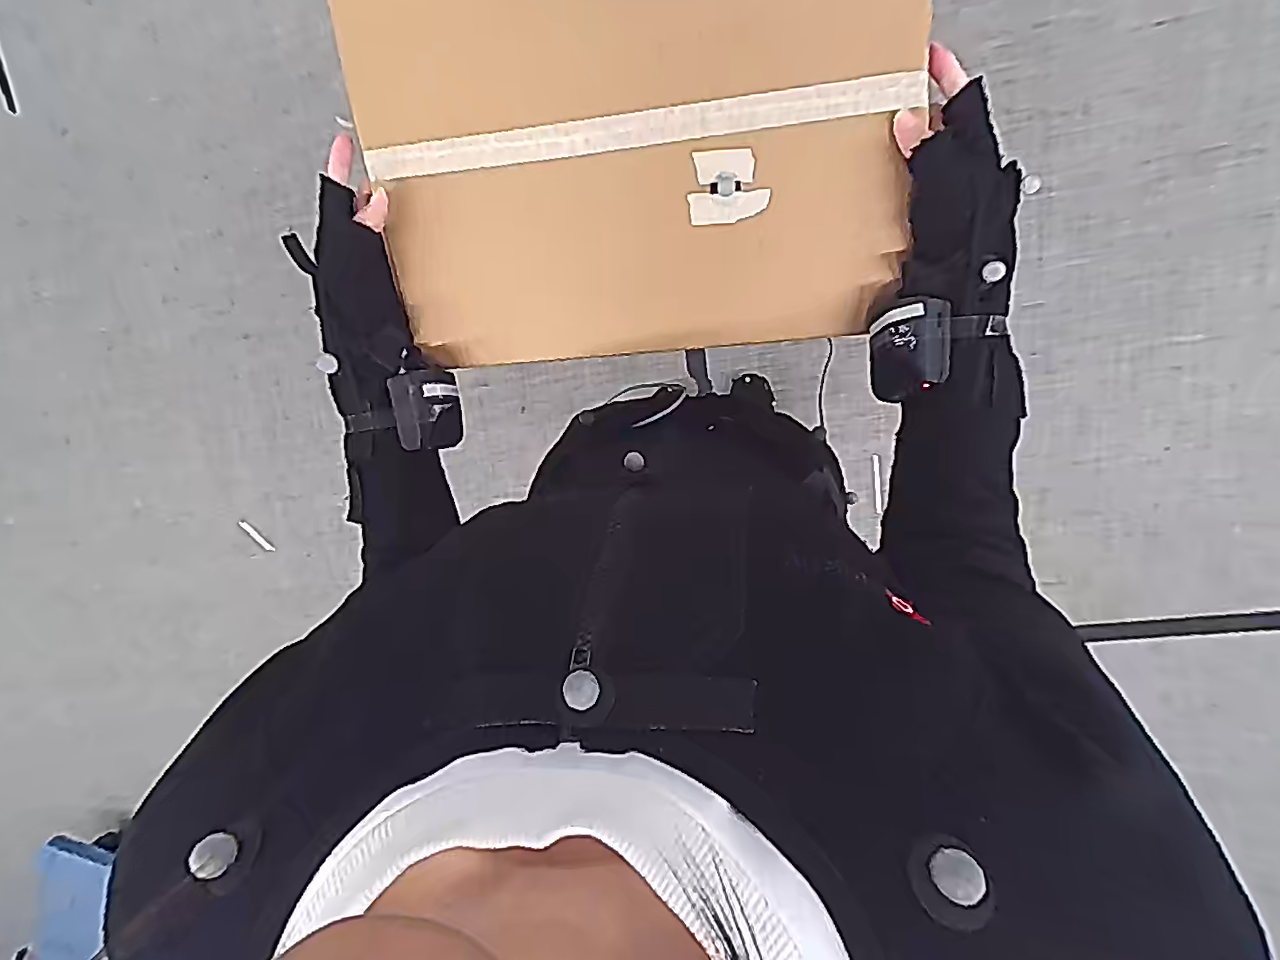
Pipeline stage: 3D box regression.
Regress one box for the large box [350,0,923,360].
[{"bbox_3d":[0.009,-0.312,0.540,0.408,0.320,0.320,-4,110,6],"label":"large box"}]
